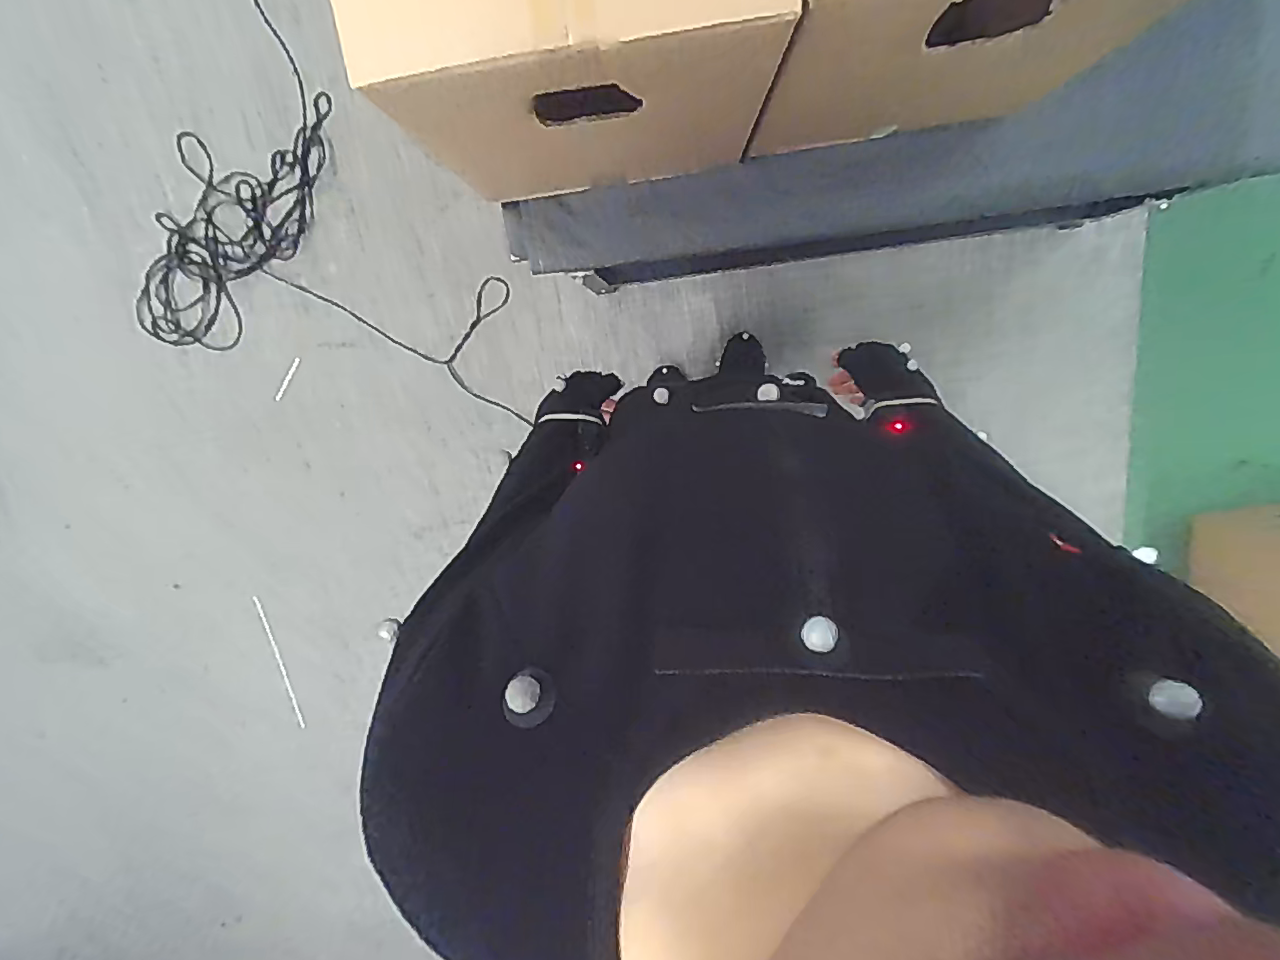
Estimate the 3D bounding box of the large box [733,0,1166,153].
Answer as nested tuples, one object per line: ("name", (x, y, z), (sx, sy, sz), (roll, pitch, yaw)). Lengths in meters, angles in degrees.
("large box", (0.241, -0.562, 0.444), (0.320, 0.320, 0.408), (-7, 104, 6))
